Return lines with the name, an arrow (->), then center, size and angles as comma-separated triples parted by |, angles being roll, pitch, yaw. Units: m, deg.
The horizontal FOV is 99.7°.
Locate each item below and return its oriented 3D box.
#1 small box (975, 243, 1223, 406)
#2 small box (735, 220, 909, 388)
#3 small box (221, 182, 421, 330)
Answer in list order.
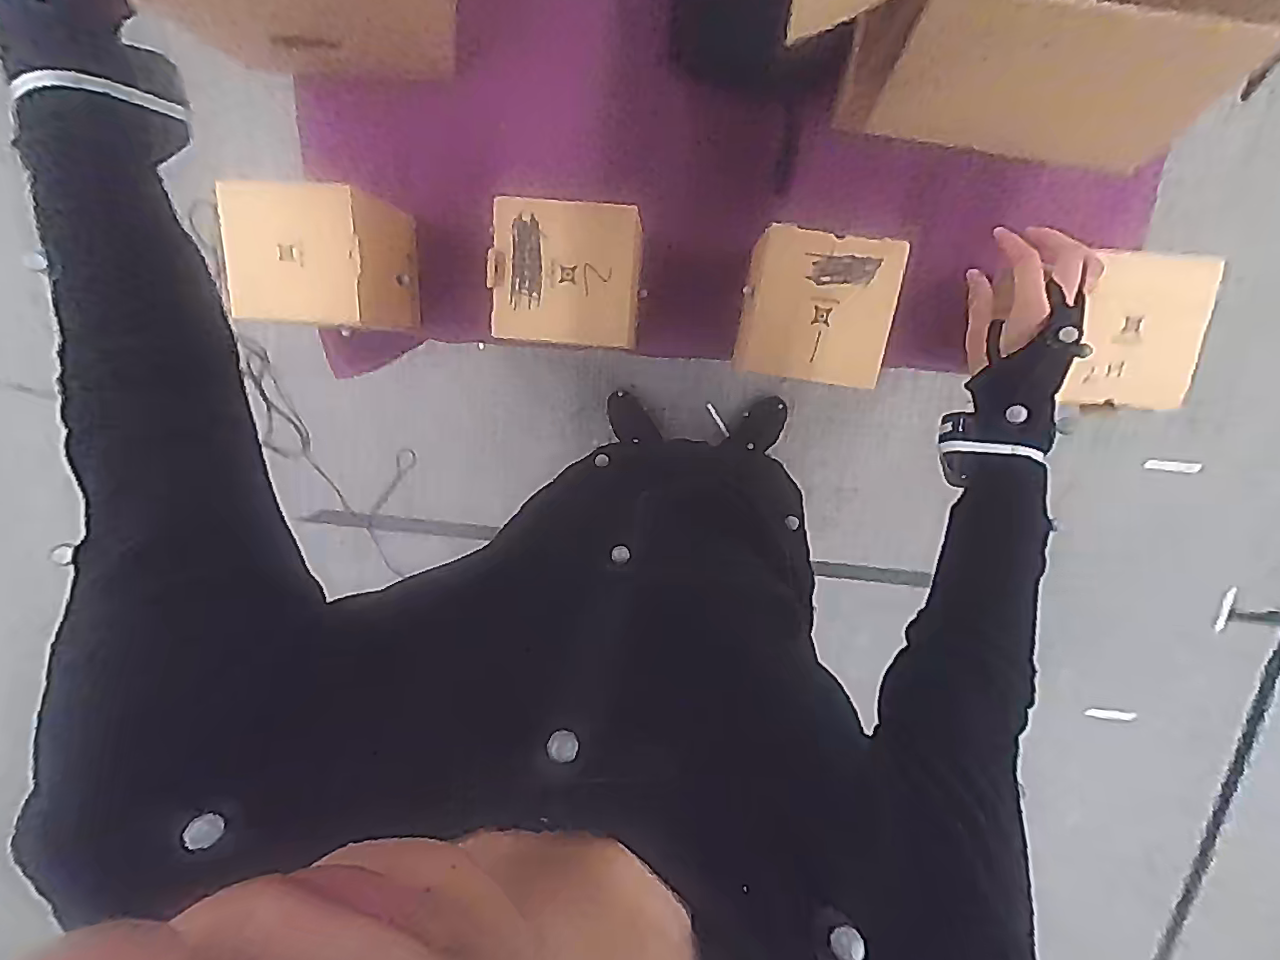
small box -> 0.576, -0.197, 0.709 | 0.168, 0.176, 0.179 | 5, 104, 4
small box -> 0.228, -0.228, 0.729 | 0.168, 0.176, 0.179 | 9, 105, 2
small box -> -0.431, -0.301, 0.759 | 0.179, 0.176, 0.168 | 2, 103, 2
